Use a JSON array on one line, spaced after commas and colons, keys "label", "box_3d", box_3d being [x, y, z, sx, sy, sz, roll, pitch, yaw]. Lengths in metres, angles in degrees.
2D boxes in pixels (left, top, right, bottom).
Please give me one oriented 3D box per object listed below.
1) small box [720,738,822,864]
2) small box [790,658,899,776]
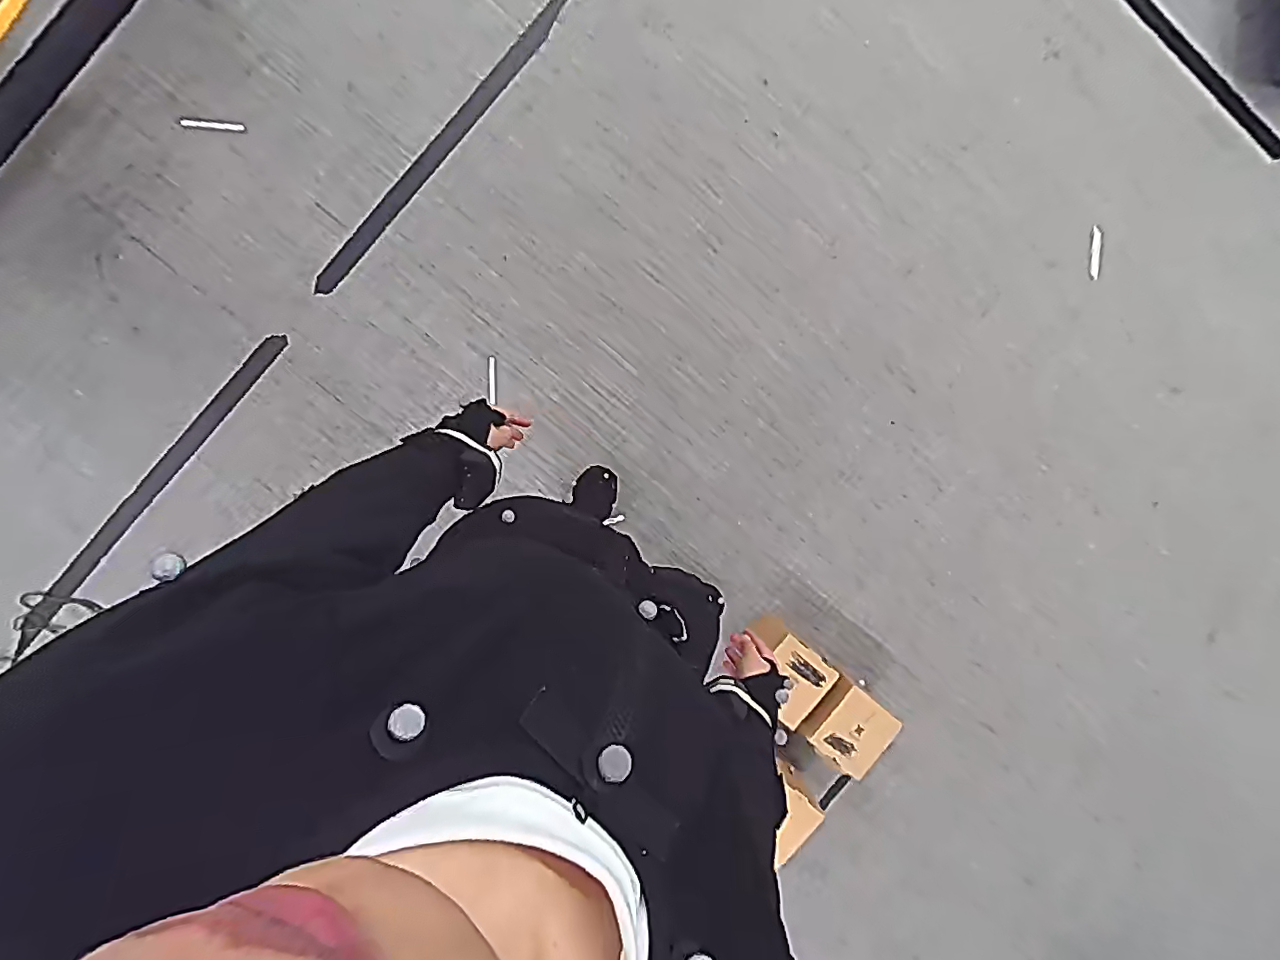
[{"label": "small box", "box_3d": [0.321, 0.808, 1.378, 0.168, 0.176, 0.179, 42, 90, -5]}, {"label": "small box", "box_3d": [0.506, 0.593, 1.373, 0.168, 0.176, 0.179, 40, 90, -5]}]
